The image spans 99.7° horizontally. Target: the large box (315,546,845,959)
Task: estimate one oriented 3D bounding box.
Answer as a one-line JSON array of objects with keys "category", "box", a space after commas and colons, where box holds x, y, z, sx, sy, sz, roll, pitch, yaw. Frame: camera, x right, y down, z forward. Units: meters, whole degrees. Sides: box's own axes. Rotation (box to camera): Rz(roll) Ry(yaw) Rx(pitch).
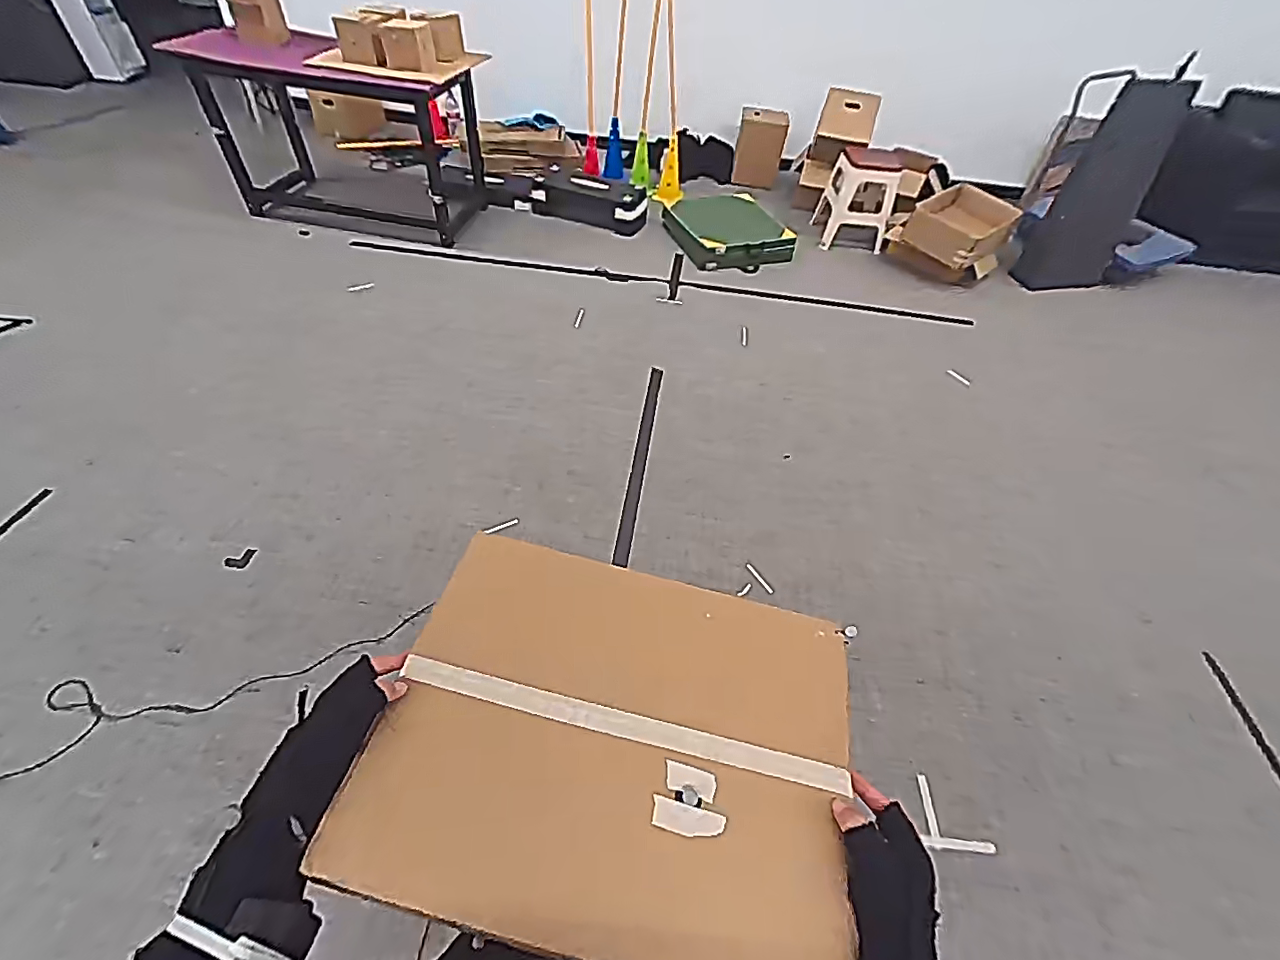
[{"category": "large box", "box": [-0.038, 0.322, 0.595, 0.408, 0.320, 0.320, 14, 49, 3]}]
